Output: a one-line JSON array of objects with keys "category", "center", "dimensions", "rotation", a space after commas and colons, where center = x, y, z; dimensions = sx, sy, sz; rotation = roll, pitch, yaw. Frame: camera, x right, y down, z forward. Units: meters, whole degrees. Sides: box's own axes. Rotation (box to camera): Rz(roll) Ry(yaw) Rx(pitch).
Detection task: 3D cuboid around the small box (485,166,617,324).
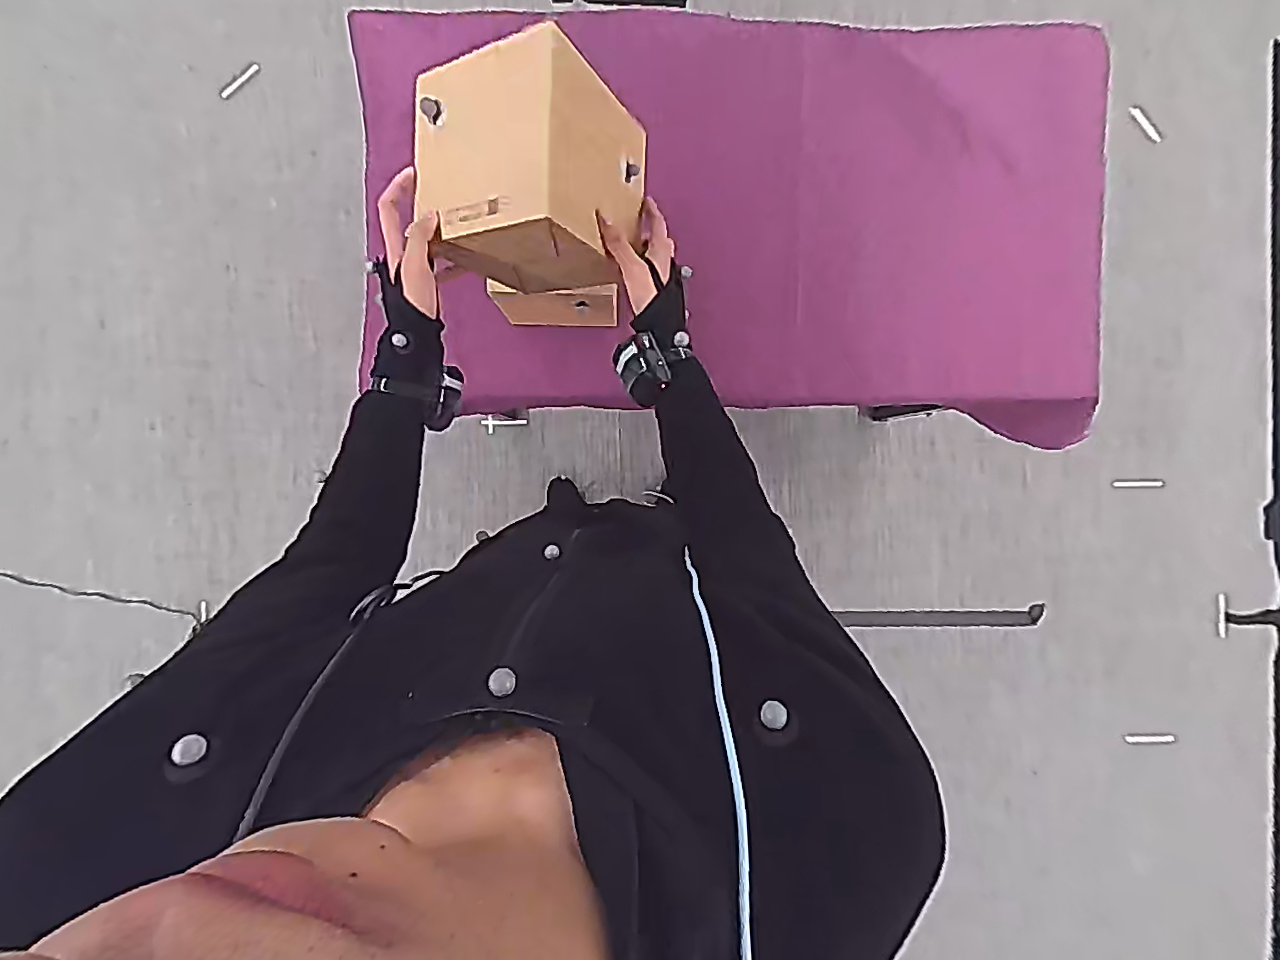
[{"category": "small box", "center": [-0.124, -0.338, 0.809], "dimensions": [0.179, 0.176, 0.168], "rotation": [1, 91, -1]}]
